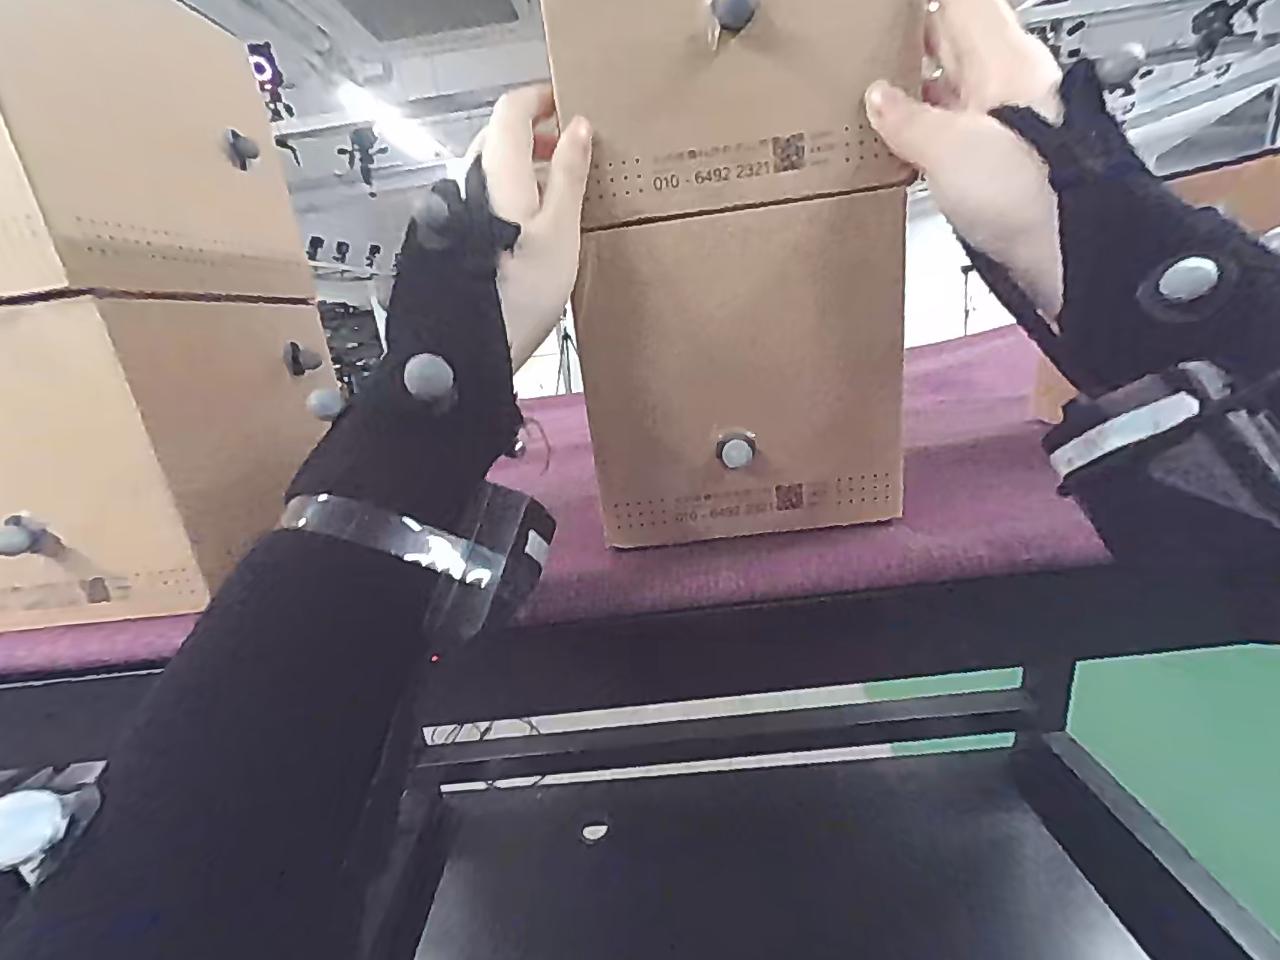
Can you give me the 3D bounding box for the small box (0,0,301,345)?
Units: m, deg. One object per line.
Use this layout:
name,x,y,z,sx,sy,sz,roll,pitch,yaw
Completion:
small box,-0.335,-0.163,0.313,0.168,0.176,0.179,-7,18,5

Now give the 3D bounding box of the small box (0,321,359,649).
small box,-0.317,-0.010,0.362,0.168,0.176,0.179,-7,17,3

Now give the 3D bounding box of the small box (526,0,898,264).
small box,0.037,-0.214,0.316,0.168,0.176,0.179,-7,17,4

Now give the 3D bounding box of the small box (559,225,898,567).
small box,0.053,-0.057,0.362,0.168,0.176,0.179,-7,17,4

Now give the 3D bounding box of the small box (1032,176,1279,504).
small box,0.390,-0.096,0.345,0.168,0.176,0.179,-6,20,5
